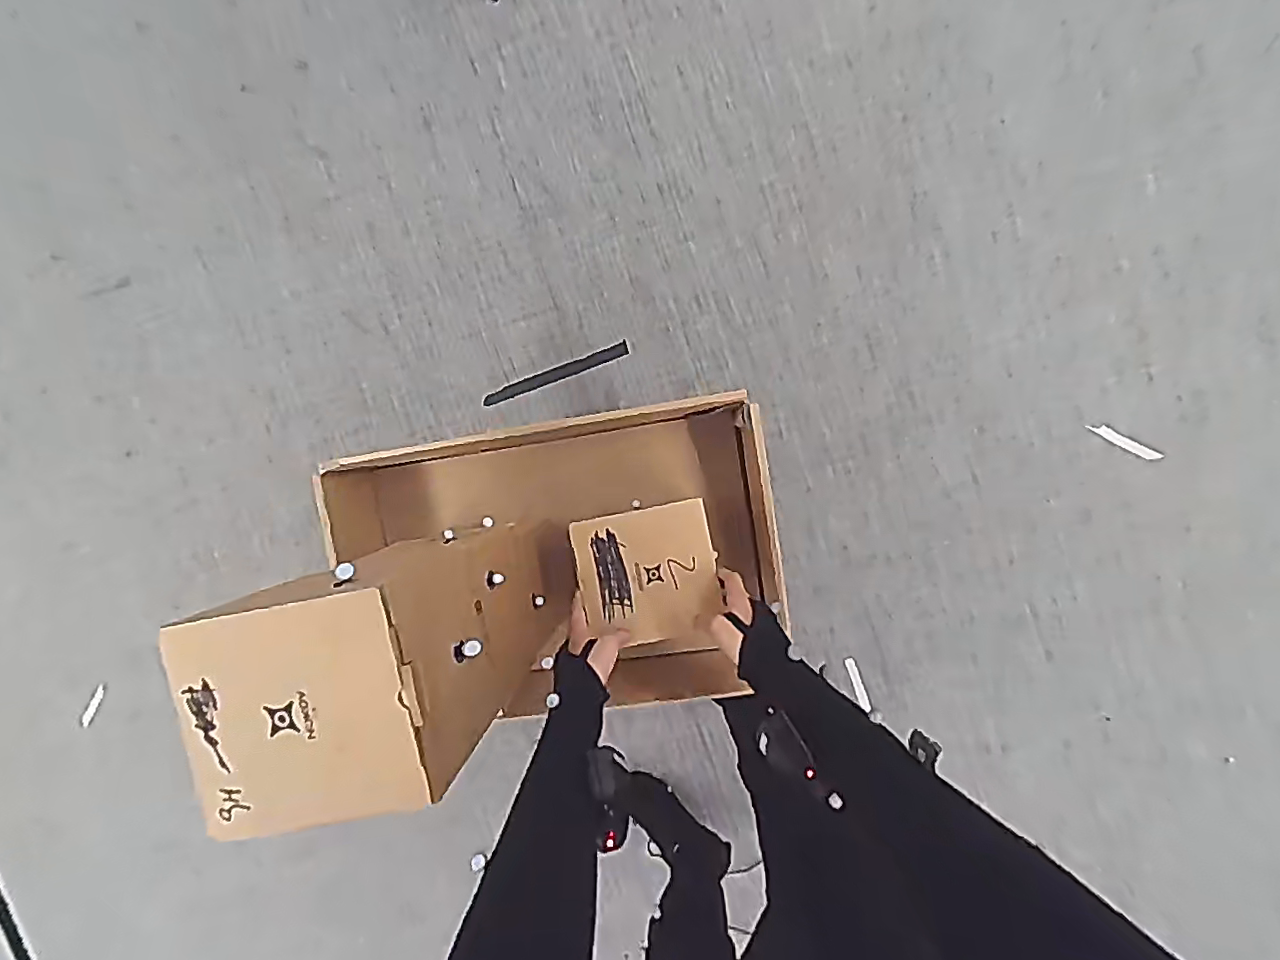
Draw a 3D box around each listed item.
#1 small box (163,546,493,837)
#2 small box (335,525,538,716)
[{"bbox_3d":[-0.240,0.162,0.467,0.179,0.176,0.168,-11,92,4],"label":"small box"},{"bbox_3d":[-0.228,0.160,0.631,0.168,0.176,0.179,-10,93,4],"label":"small box"}]
